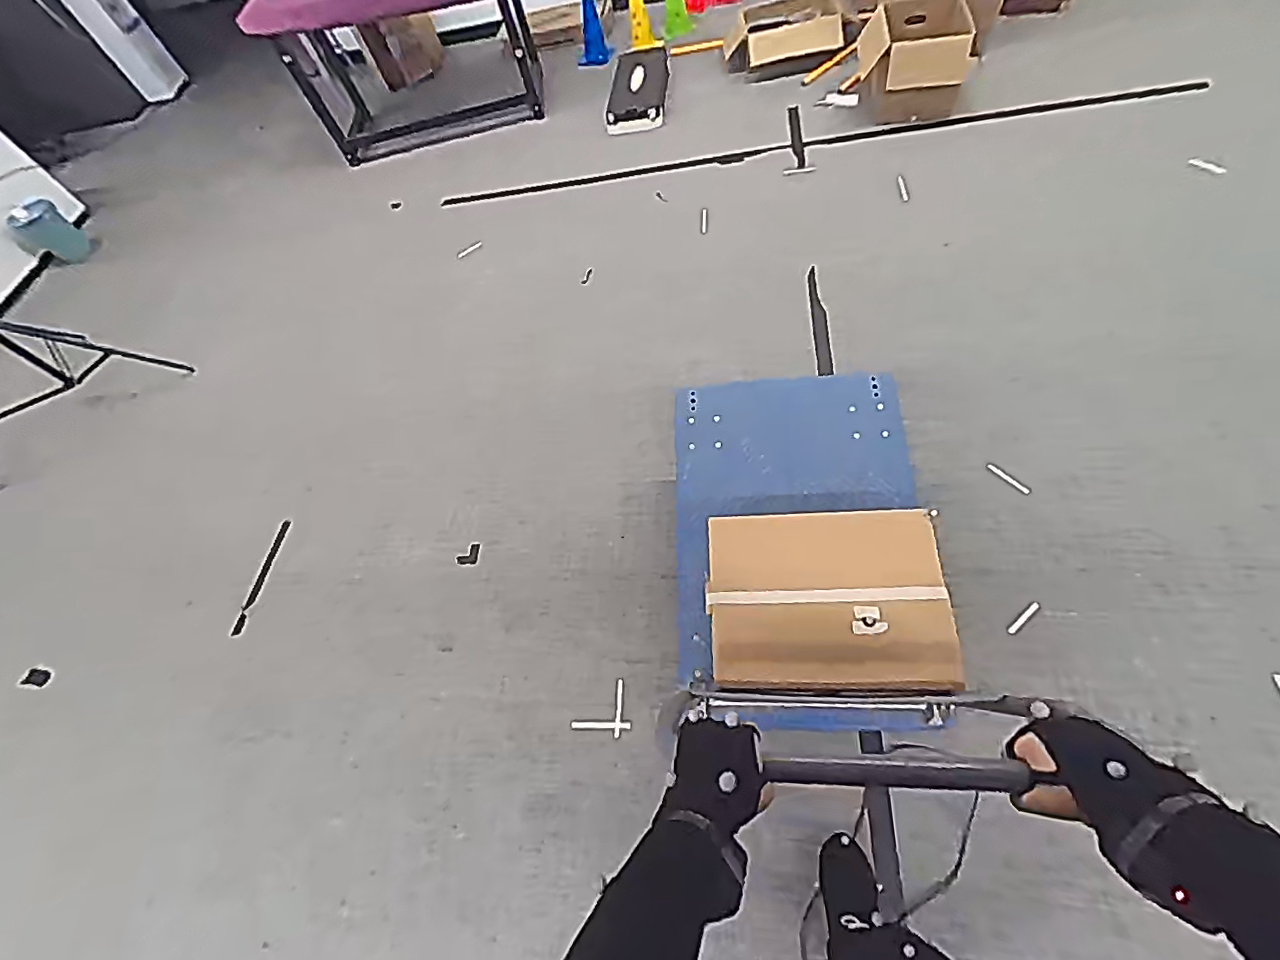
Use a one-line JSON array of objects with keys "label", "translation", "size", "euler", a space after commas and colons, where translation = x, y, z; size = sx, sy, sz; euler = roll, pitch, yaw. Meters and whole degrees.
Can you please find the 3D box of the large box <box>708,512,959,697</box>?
[{"label": "large box", "translation": [0.354, 0.273, 1.111], "size": [0.408, 0.320, 0.320], "euler": [-4, 67, 9]}]
